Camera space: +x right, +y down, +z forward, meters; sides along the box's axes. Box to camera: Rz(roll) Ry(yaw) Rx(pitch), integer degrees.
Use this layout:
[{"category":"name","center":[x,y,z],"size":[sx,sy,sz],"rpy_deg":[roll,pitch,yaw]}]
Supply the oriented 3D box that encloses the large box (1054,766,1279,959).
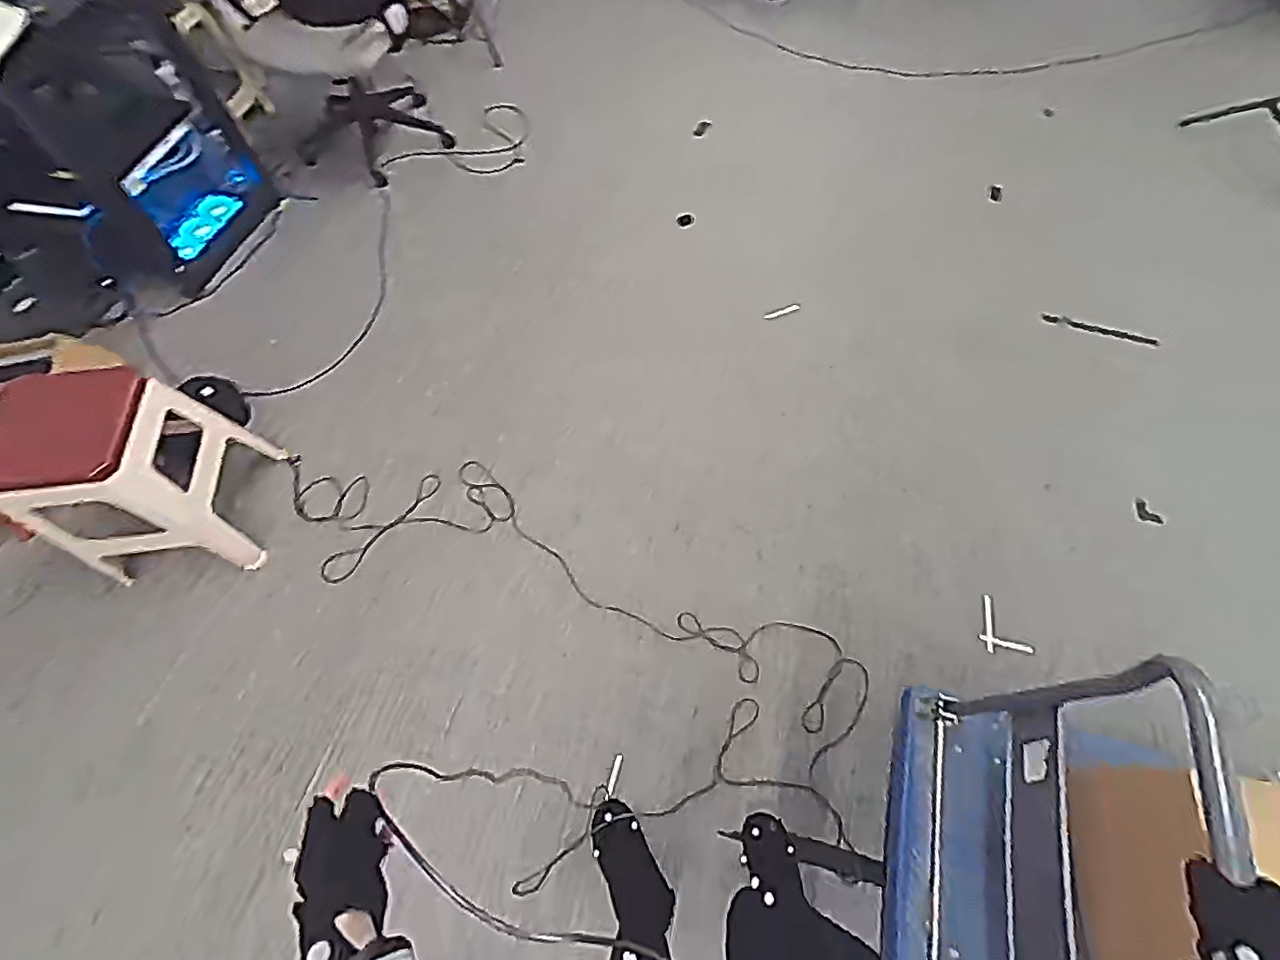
[{"category":"large box","center":[0.992,0.730,0.912],"size":[0.320,0.320,0.408],"rpy_deg":[8,63,4]}]
